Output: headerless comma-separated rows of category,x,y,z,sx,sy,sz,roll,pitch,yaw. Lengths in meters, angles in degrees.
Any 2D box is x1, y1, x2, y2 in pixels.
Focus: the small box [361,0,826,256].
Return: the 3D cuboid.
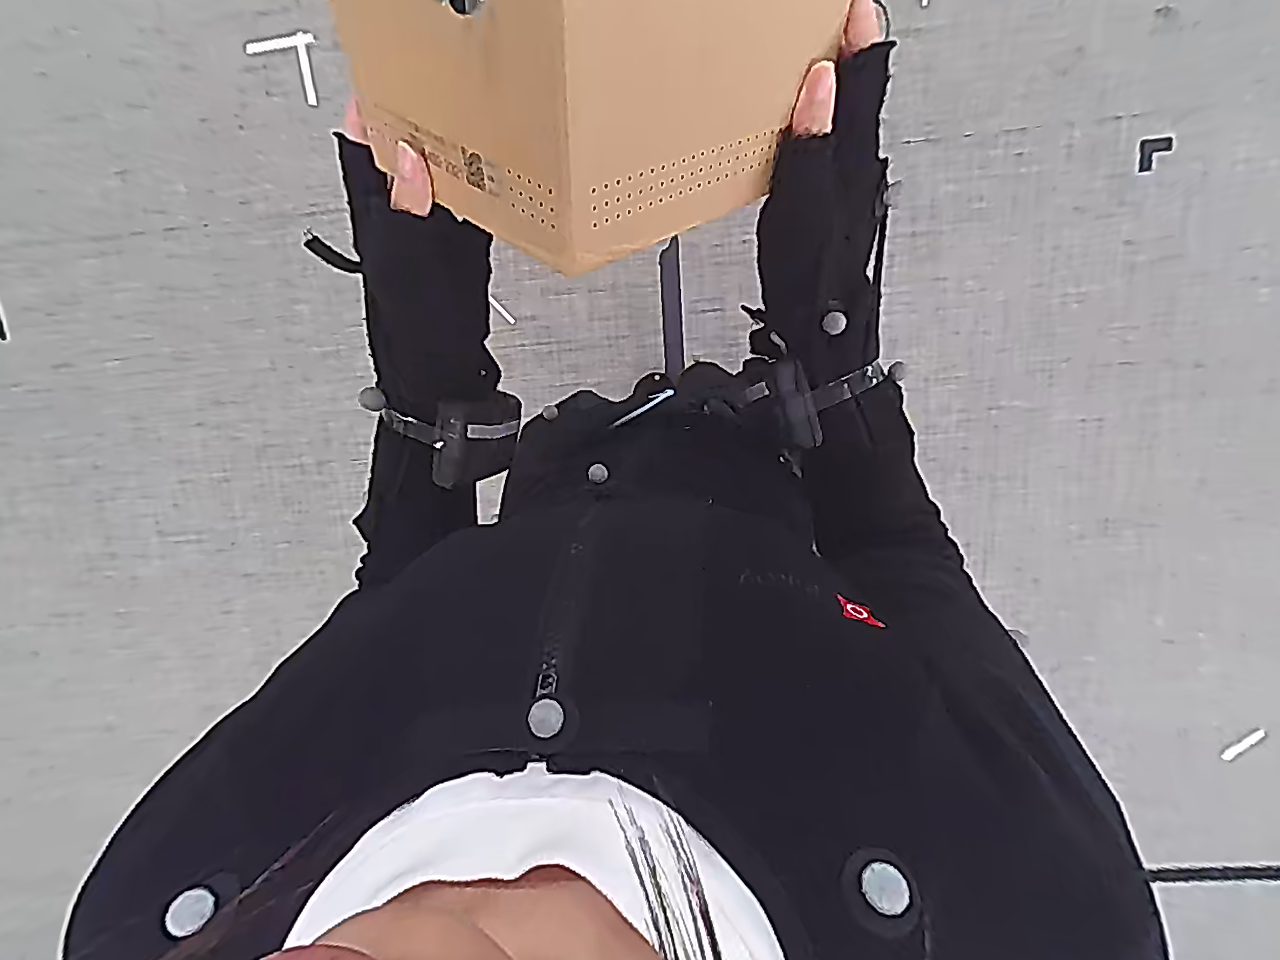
small box,-0.020,-0.230,0.255,0.168,0.179,0.176,38,146,27
